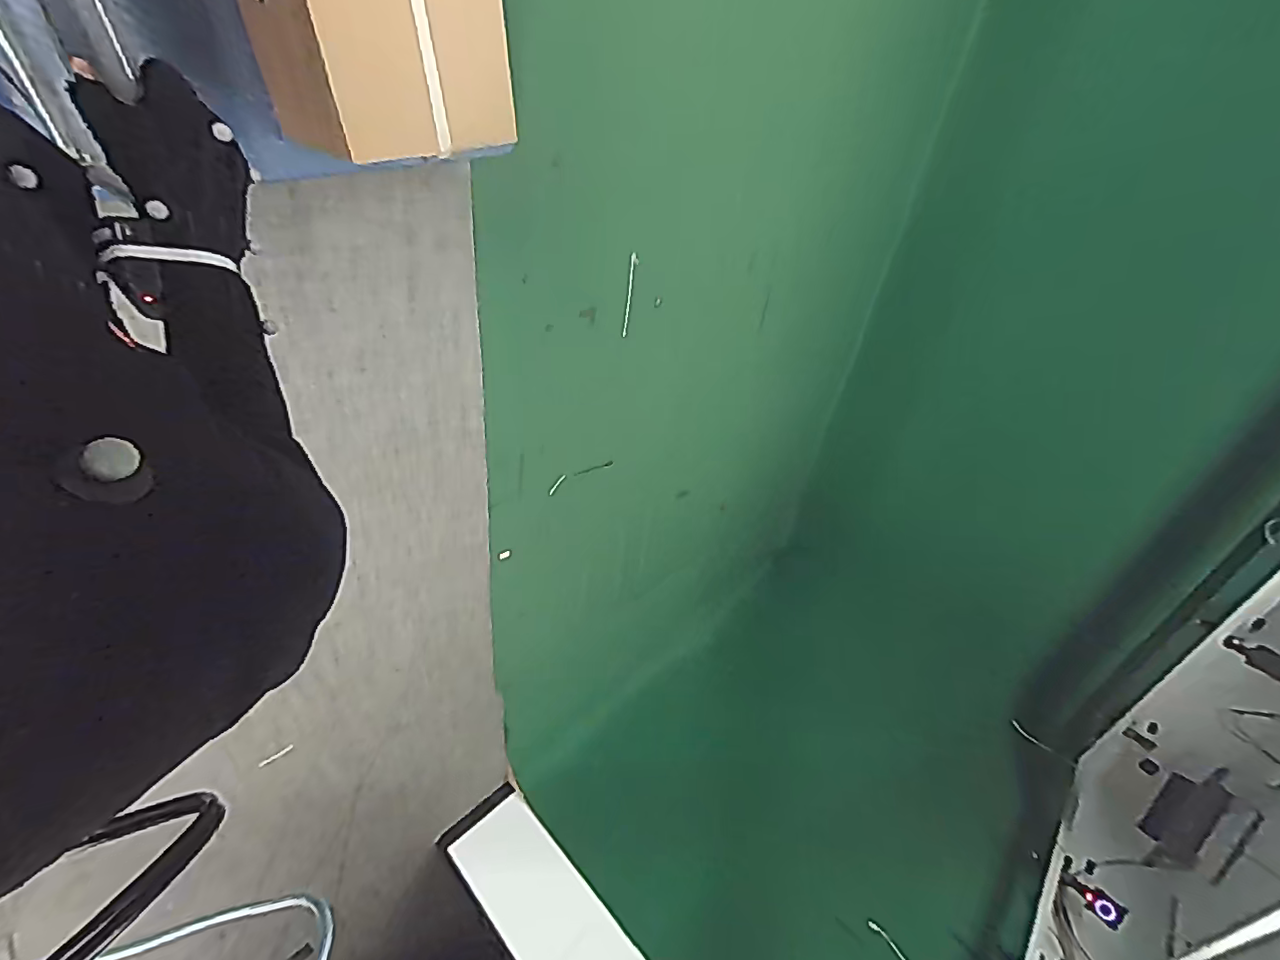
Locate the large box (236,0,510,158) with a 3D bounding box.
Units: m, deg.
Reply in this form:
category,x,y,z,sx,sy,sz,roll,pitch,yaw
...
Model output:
category,x,y,z,sx,sy,sz,roll,pitch,yaw
large box,-0.456,-0.793,0.885,0.320,0.320,0.408,-33,140,-33
